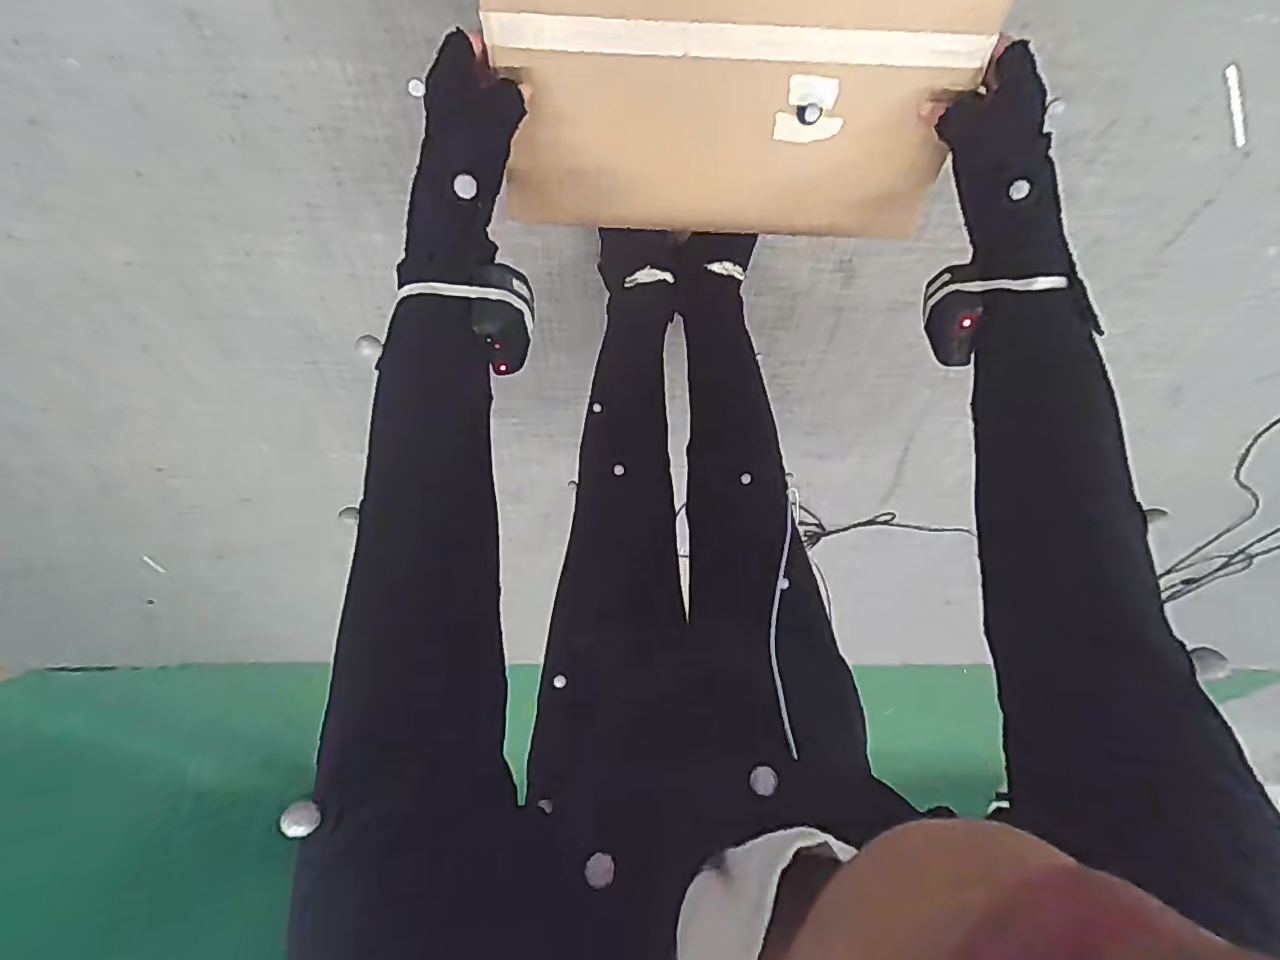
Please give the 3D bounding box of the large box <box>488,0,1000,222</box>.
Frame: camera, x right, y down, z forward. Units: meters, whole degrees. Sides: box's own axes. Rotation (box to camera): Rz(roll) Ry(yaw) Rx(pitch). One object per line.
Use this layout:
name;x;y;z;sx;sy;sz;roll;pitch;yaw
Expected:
large box;0.076;-0.476;0.523;0.408;0.320;0.320;1;143;-2
